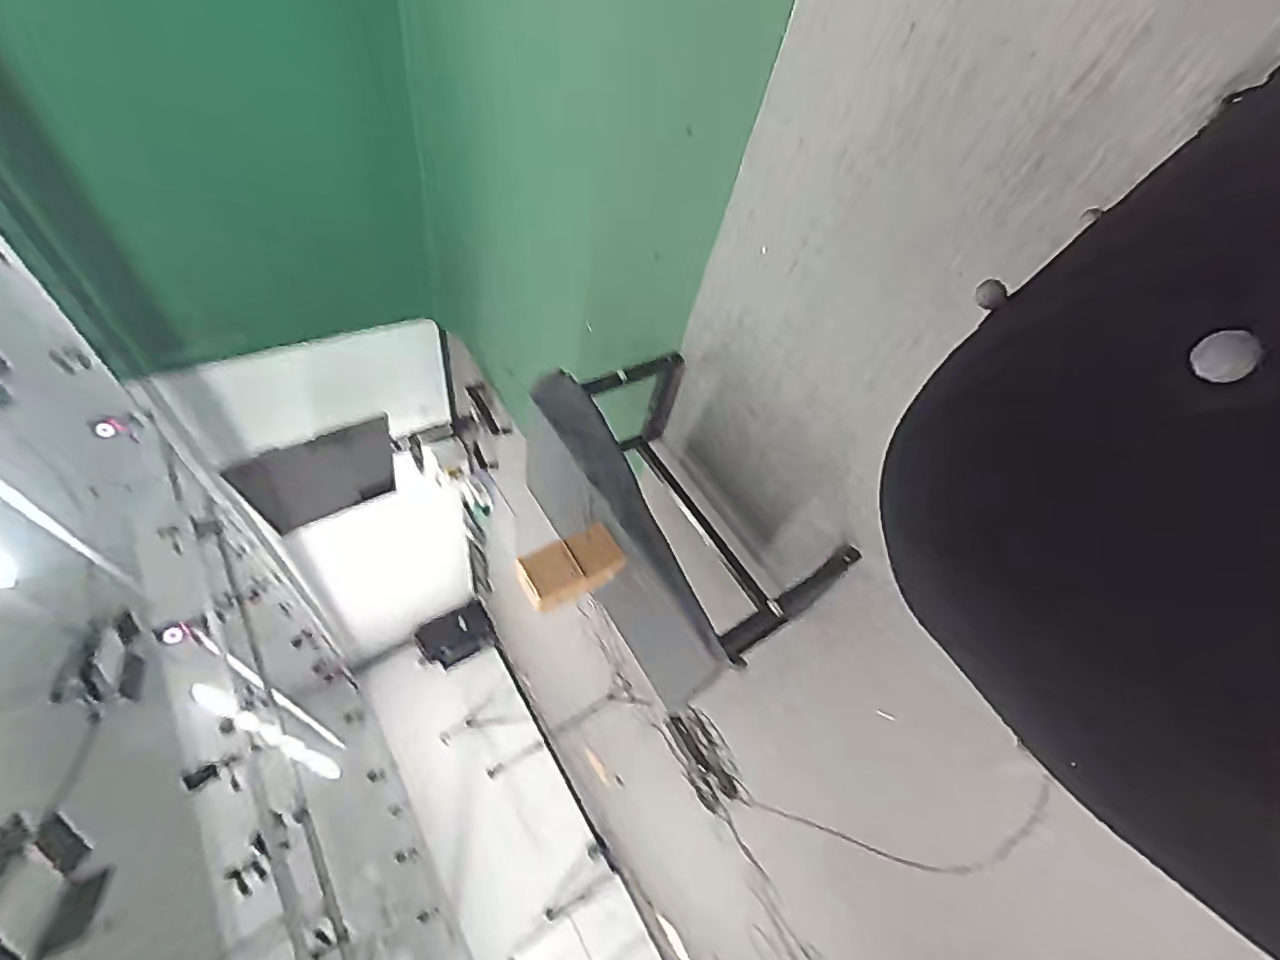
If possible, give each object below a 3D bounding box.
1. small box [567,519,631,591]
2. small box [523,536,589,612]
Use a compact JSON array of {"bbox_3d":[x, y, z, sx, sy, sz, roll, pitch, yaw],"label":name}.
[{"bbox_3d":[-0.155,0.262,1.942,0.179,0.176,0.168,54,153,21],"label":"small box"},{"bbox_3d":[-0.289,0.320,1.866,0.168,0.176,0.179,54,151,24],"label":"small box"}]
